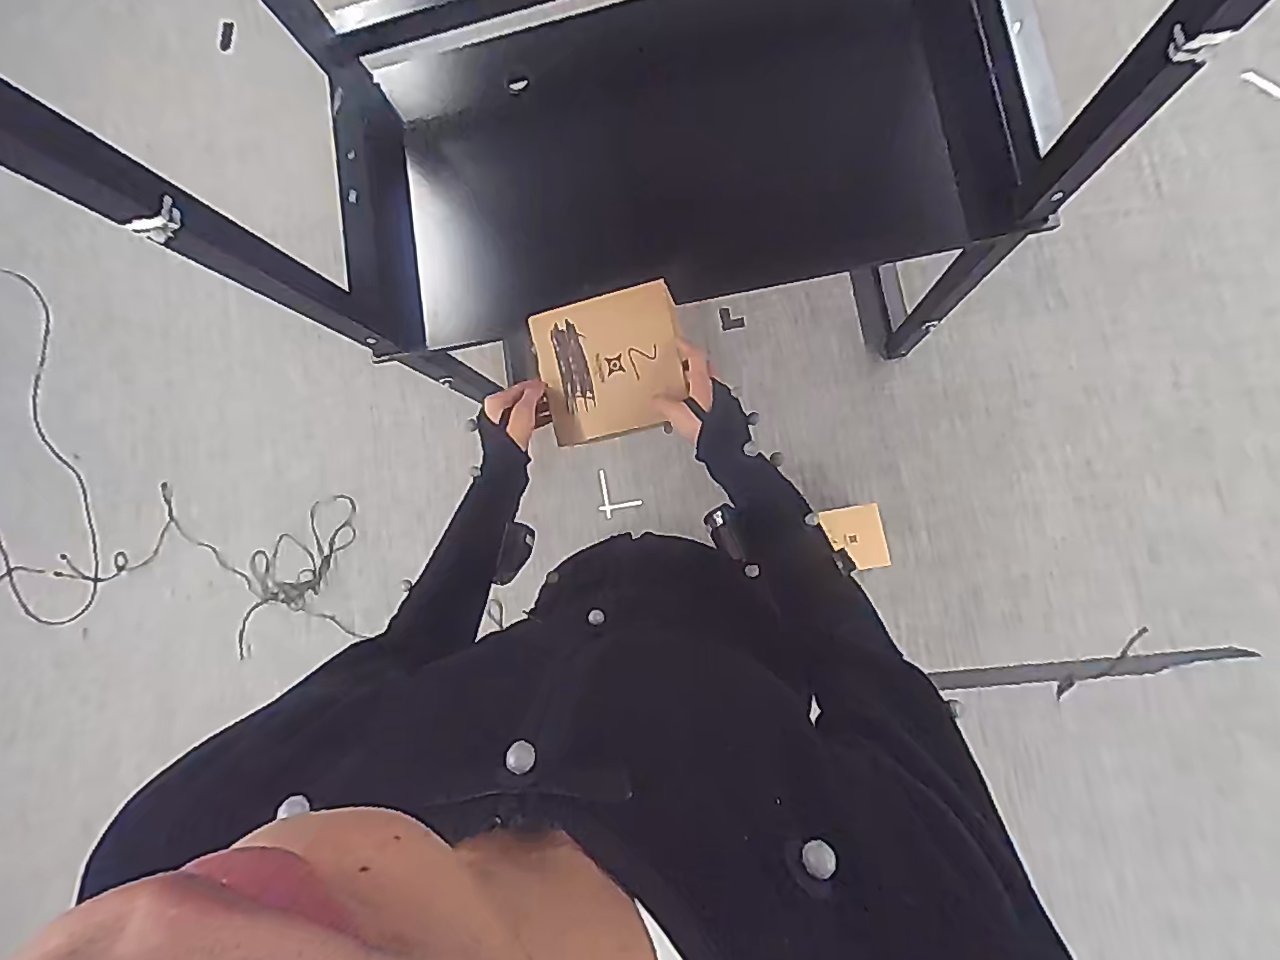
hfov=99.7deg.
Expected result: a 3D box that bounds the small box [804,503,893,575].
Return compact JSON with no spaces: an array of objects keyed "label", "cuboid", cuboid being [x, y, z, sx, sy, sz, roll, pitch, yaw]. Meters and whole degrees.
[{"label":"small box","cuboid":[0.562,0.158,1.476,0.179,0.176,0.168,-11,83,9]}]
